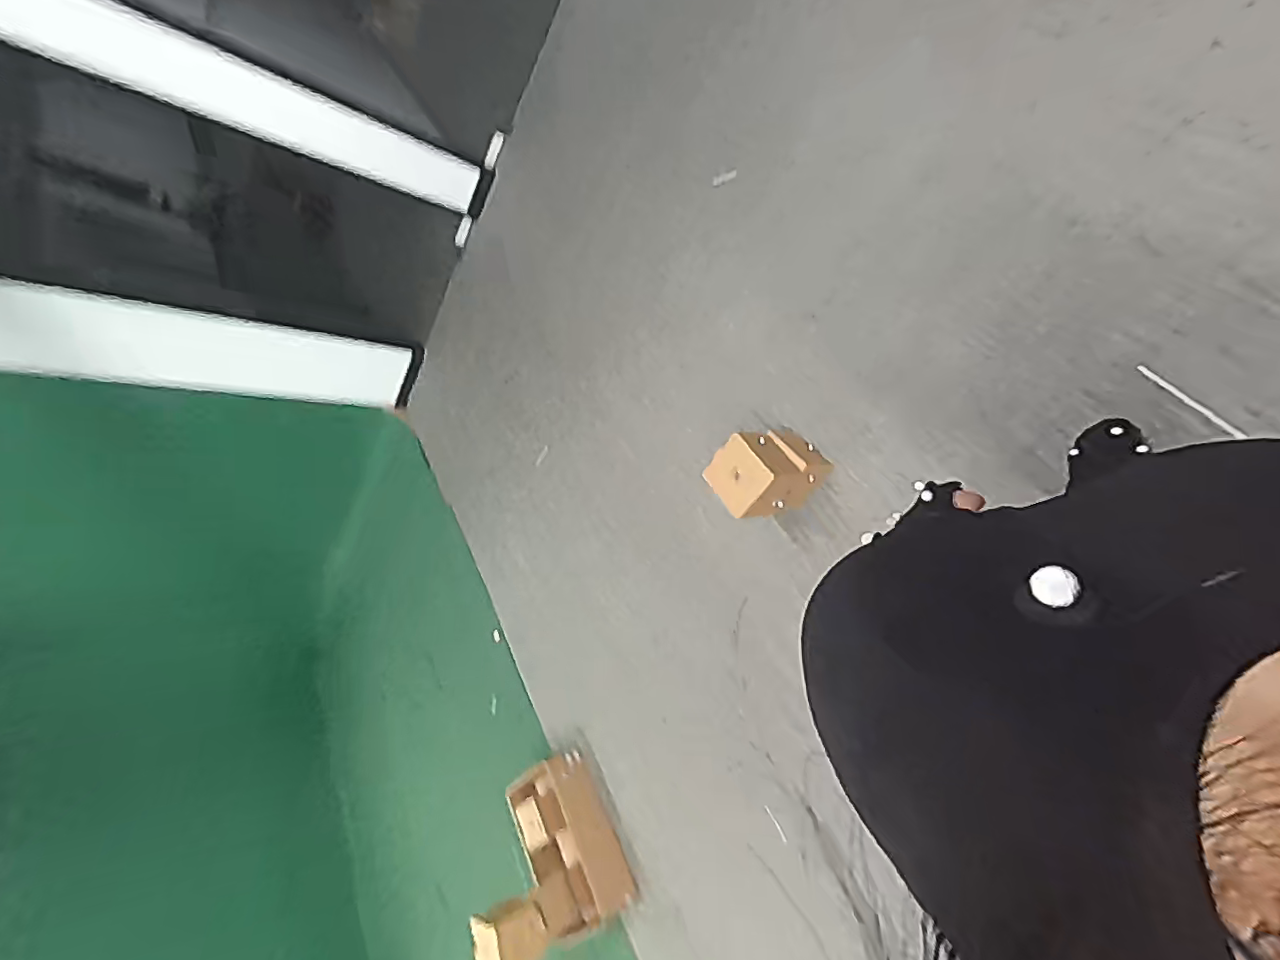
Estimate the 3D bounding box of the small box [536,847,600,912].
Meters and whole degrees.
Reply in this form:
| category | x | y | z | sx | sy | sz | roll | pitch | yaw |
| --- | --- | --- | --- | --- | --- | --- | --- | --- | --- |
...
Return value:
| category | x | y | z | sx | sy | sz | roll | pitch | yaw |
| --- | --- | --- | --- | --- | --- | --- | --- | --- | --- |
| small box | -0.292 | 1.634 | 2.189 | 0.179 | 0.176 | 0.168 | -52 | 56 | 30 |

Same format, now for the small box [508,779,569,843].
| category | x | y | z | sx | sy | sz | roll | pitch | yaw |
| --- | --- | --- | --- | --- | --- | --- | --- | --- | --- |
| small box | -0.438 | 1.428 | 2.337 | 0.179 | 0.176 | 0.168 | -46 | 60 | 33 |

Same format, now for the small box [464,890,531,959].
| category | x | y | z | sx | sy | sz | roll | pitch | yaw |
| --- | --- | --- | --- | --- | --- | --- | --- | --- | --- |
| small box | -0.508 | 1.617 | 1.944 | 0.179 | 0.176 | 0.168 | -27 | 70 | 41 |

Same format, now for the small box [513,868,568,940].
| category | x | y | z | sx | sy | sz | roll | pitch | yaw |
| --- | --- | --- | --- | --- | --- | --- | --- | --- | --- |
| small box | -0.397 | 1.627 | 2.063 | 0.179 | 0.176 | 0.168 | -51 | 56 | 31 |

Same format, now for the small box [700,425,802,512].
| category | x | y | z | sx | sy | sz | roll | pitch | yaw |
| --- | --- | --- | --- | --- | --- | --- | --- | --- | --- |
| small box | 0.307 | -0.029 | 1.494 | 0.179 | 0.176 | 0.168 | 55 | 125 | 29 |
